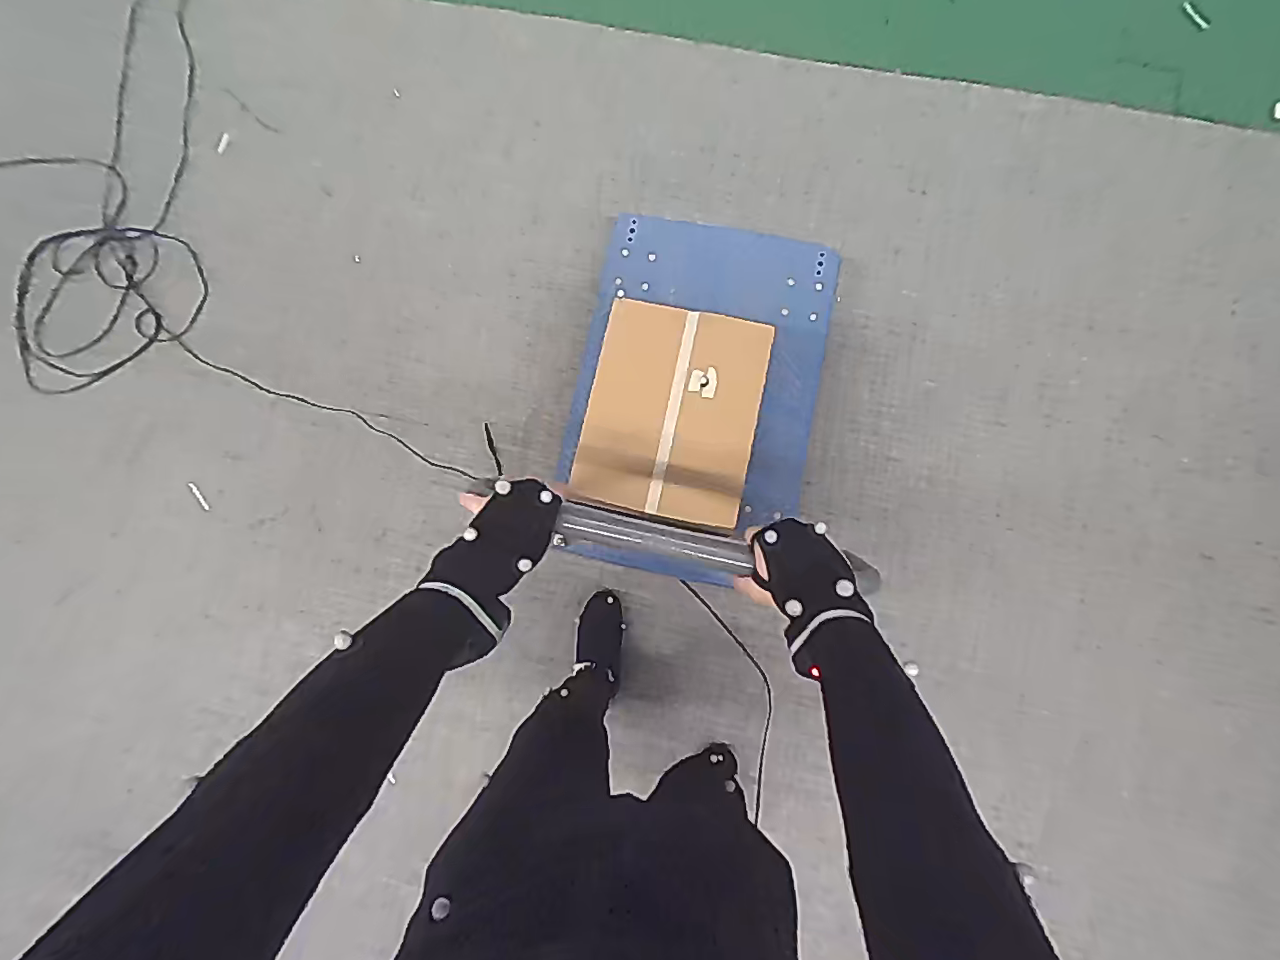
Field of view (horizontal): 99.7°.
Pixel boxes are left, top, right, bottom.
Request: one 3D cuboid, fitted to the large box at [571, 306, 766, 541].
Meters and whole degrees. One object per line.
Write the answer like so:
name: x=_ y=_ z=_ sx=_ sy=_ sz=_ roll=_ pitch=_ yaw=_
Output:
large box: x=0.064 y=-0.099 z=1.172 sx=0.320 sy=0.320 sz=0.408 roll=12 pitch=81 yaw=4
